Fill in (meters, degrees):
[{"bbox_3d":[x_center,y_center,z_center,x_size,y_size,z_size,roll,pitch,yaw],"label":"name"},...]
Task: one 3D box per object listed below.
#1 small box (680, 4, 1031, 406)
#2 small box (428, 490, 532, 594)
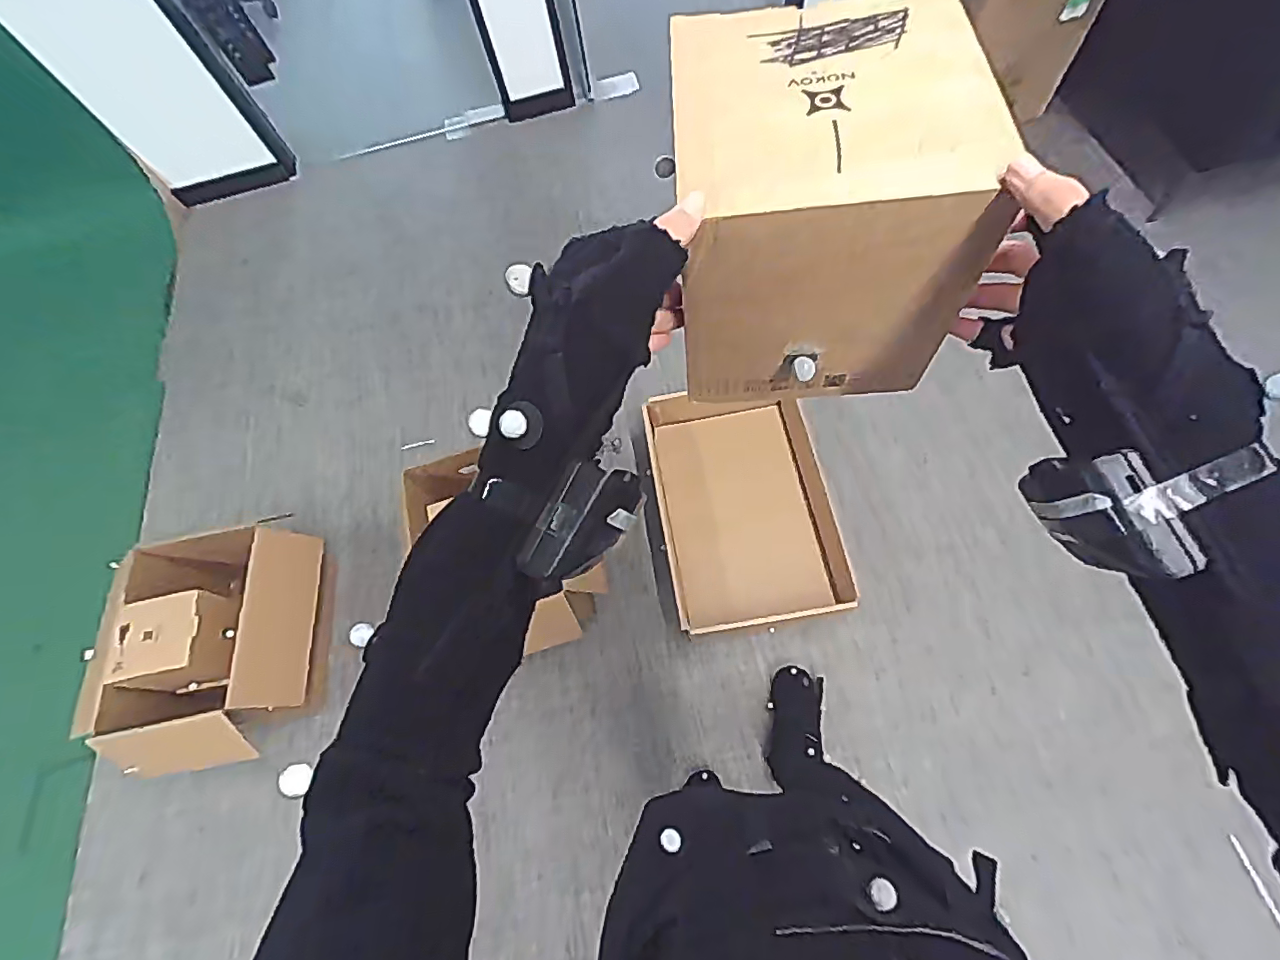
[{"bbox_3d":[0.112,-0.171,0.367,0.168,0.176,0.179,-3,65,6],"label":"small box"},{"bbox_3d":[-0.356,0.149,1.224,0.168,0.176,0.179,-18,67,-2],"label":"small box"}]
